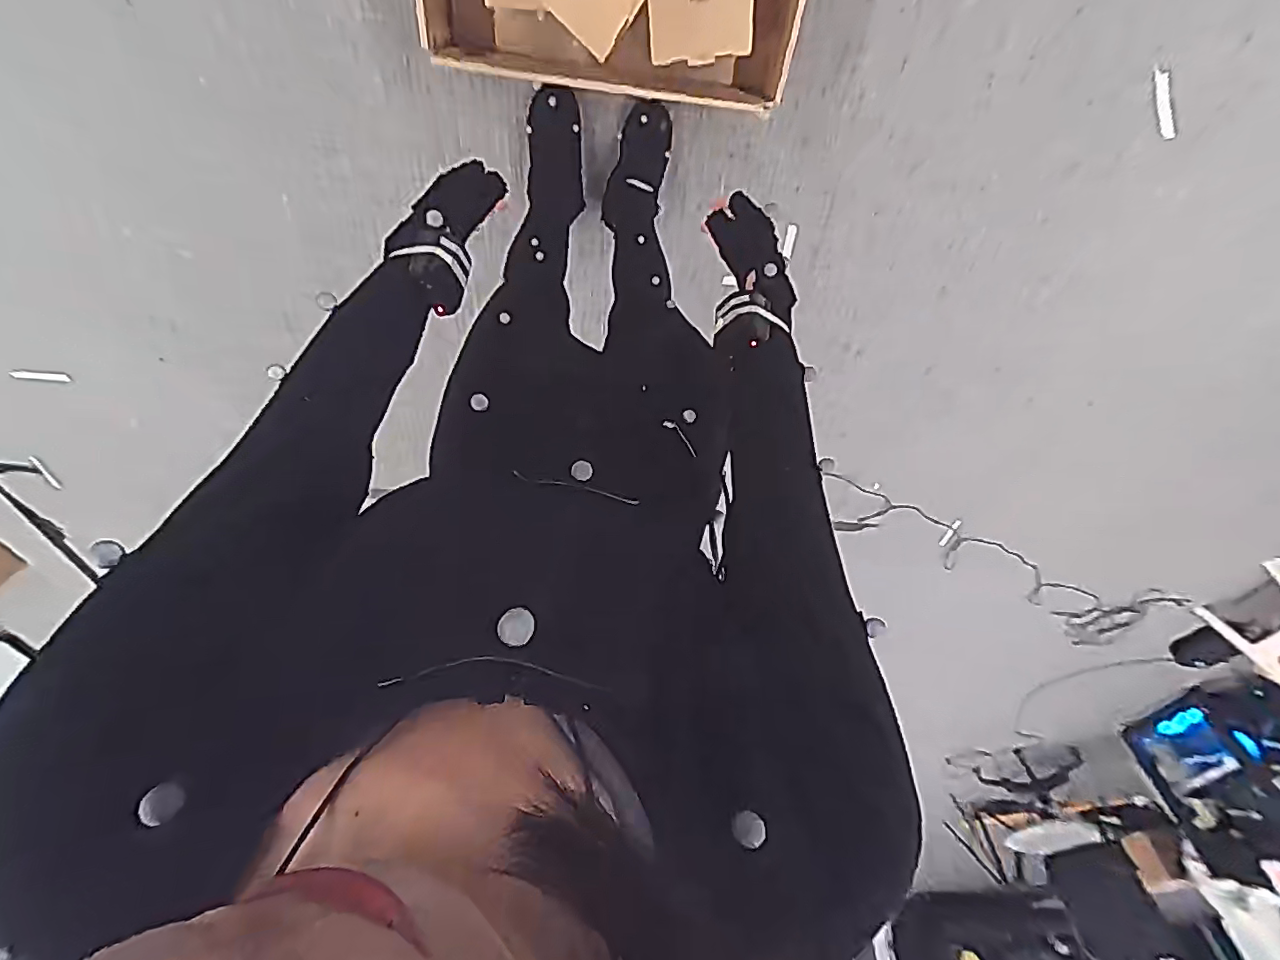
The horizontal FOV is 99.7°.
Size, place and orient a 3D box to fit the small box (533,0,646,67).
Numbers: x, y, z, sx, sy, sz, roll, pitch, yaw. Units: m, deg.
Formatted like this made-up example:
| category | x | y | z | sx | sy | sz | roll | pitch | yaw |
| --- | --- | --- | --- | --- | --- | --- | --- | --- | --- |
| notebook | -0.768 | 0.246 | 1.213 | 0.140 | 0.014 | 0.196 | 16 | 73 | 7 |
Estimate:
| category | x | y | z | sx | sy | sz | roll | pitch | yaw |
| --- | --- | --- | --- | --- | --- | --- | --- | --- | --- |
| small box | -0.070 | -0.721 | 0.746 | 0.179 | 0.176 | 0.168 | 31 | 122 | -24 |
